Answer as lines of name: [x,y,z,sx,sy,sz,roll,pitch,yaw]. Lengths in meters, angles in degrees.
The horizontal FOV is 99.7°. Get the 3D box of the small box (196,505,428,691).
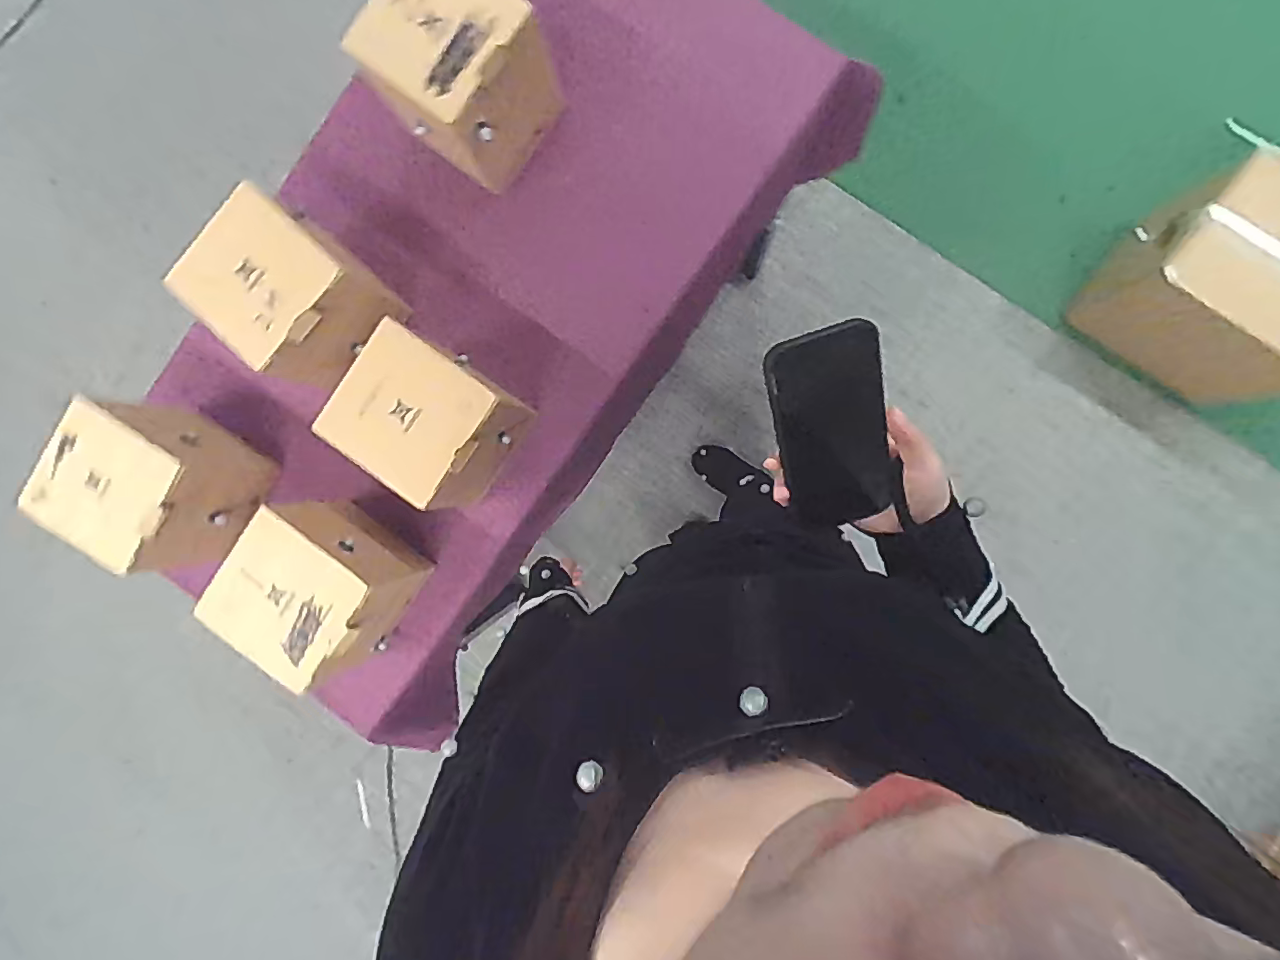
small box: [-0.428,0.144,0.738,0.179,0.176,0.168,34,93,6]

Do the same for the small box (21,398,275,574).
small box: [-0.670,0.005,0.760,0.179,0.176,0.168,31,93,3]

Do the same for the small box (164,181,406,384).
small box: [-0.468,-0.251,0.738,0.179,0.176,0.168,42,94,3]

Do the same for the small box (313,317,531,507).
small box: [-0.274,-0.083,0.723,0.179,0.176,0.168,36,93,5]
